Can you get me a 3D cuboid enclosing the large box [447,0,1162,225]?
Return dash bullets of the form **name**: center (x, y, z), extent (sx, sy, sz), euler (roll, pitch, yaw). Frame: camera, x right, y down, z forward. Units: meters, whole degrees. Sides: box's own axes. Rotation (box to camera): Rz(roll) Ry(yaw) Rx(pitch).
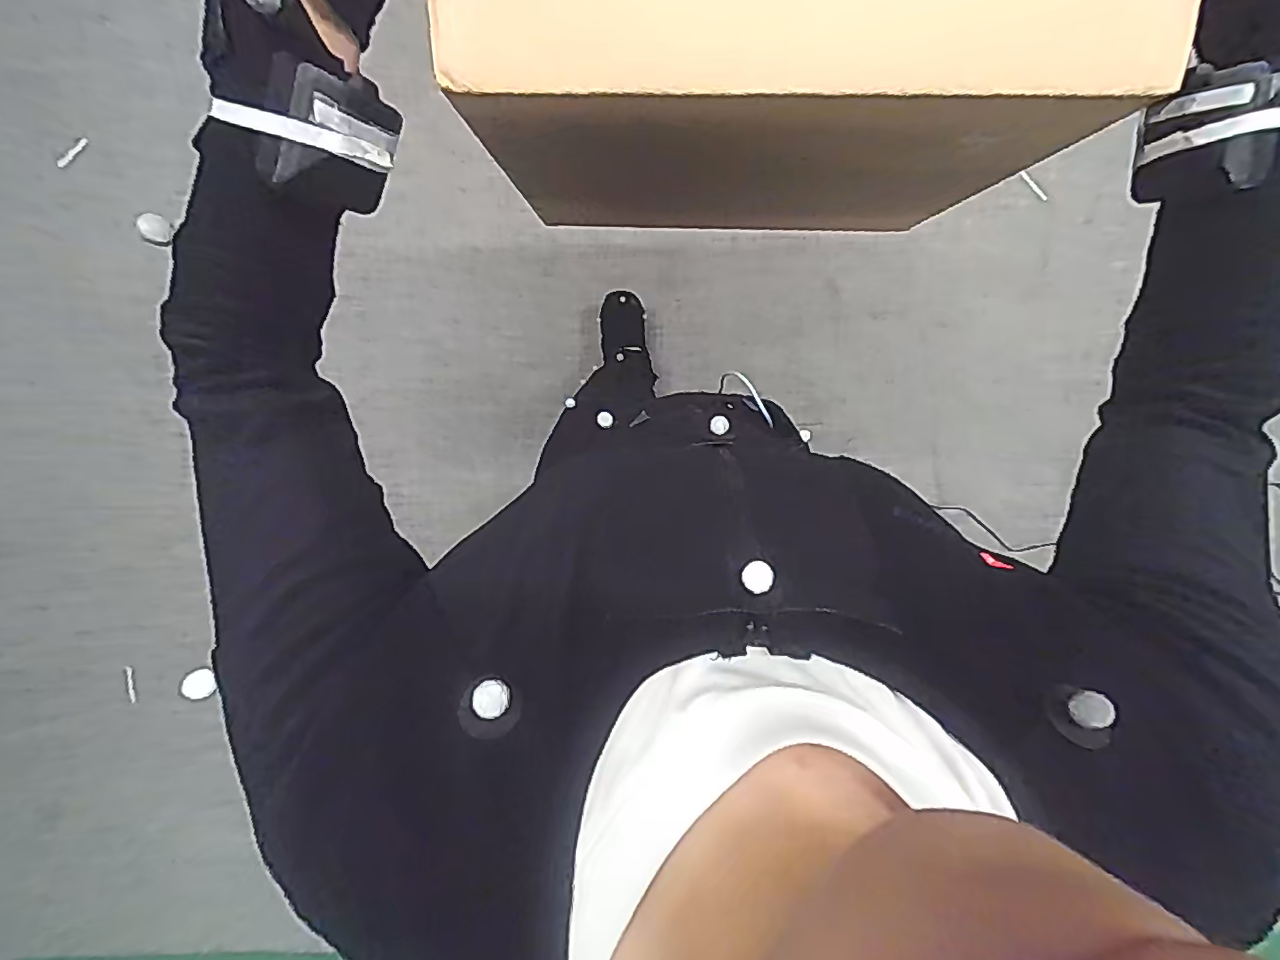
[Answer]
- **large box**: center (0.090, -0.405, 0.422), extent (0.408, 0.320, 0.320), euler (1, 103, 1)
